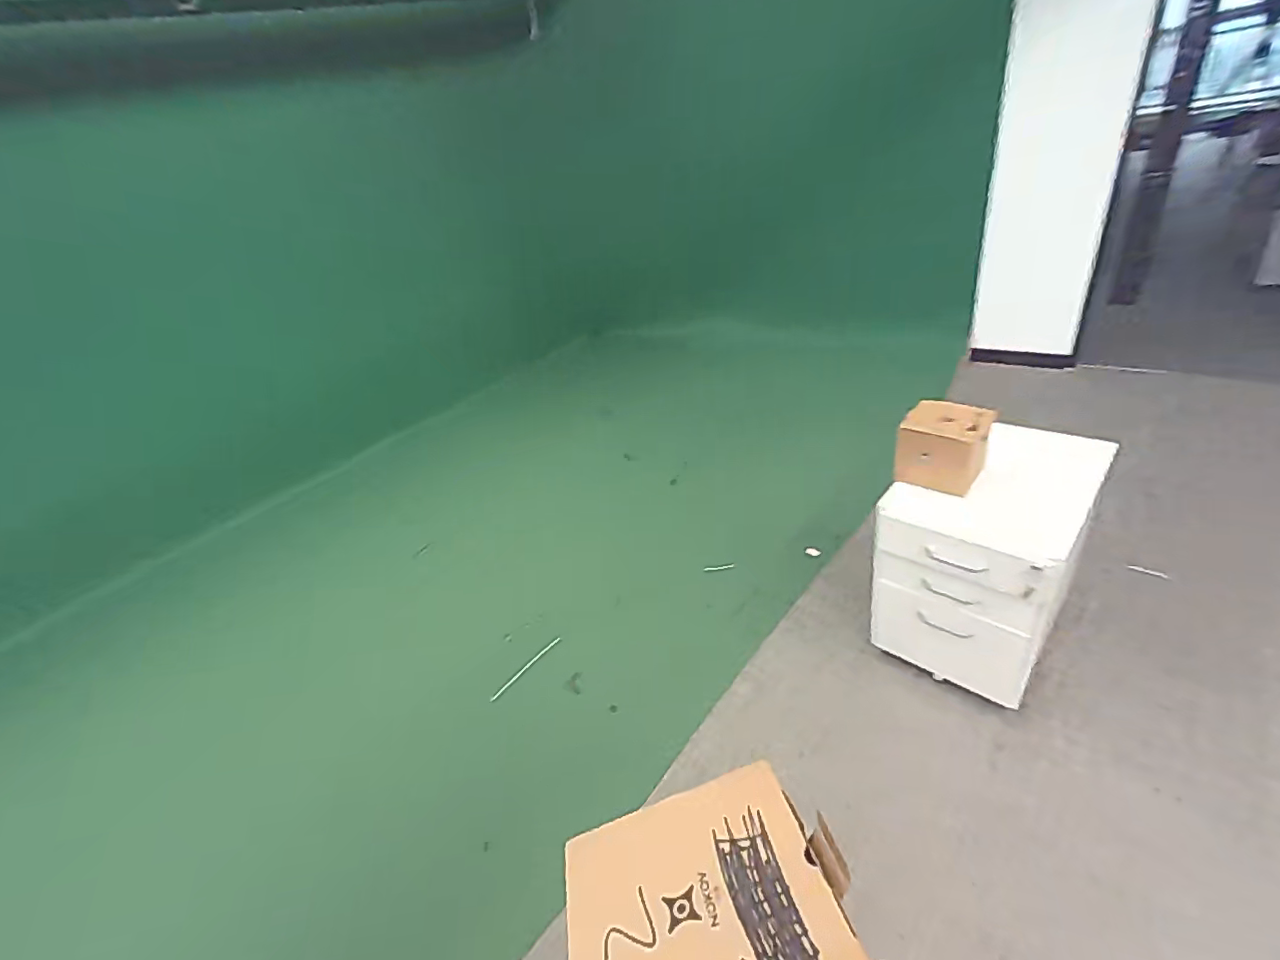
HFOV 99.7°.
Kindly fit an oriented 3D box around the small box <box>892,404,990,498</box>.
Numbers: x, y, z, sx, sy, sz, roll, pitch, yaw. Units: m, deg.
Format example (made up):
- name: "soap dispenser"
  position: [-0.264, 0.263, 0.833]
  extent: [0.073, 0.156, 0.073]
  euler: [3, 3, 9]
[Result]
- name: "small box"
  position: [0.774, -0.075, 1.404]
  extent: [0.179, 0.176, 0.168]
  euler: [20, 46, 39]
